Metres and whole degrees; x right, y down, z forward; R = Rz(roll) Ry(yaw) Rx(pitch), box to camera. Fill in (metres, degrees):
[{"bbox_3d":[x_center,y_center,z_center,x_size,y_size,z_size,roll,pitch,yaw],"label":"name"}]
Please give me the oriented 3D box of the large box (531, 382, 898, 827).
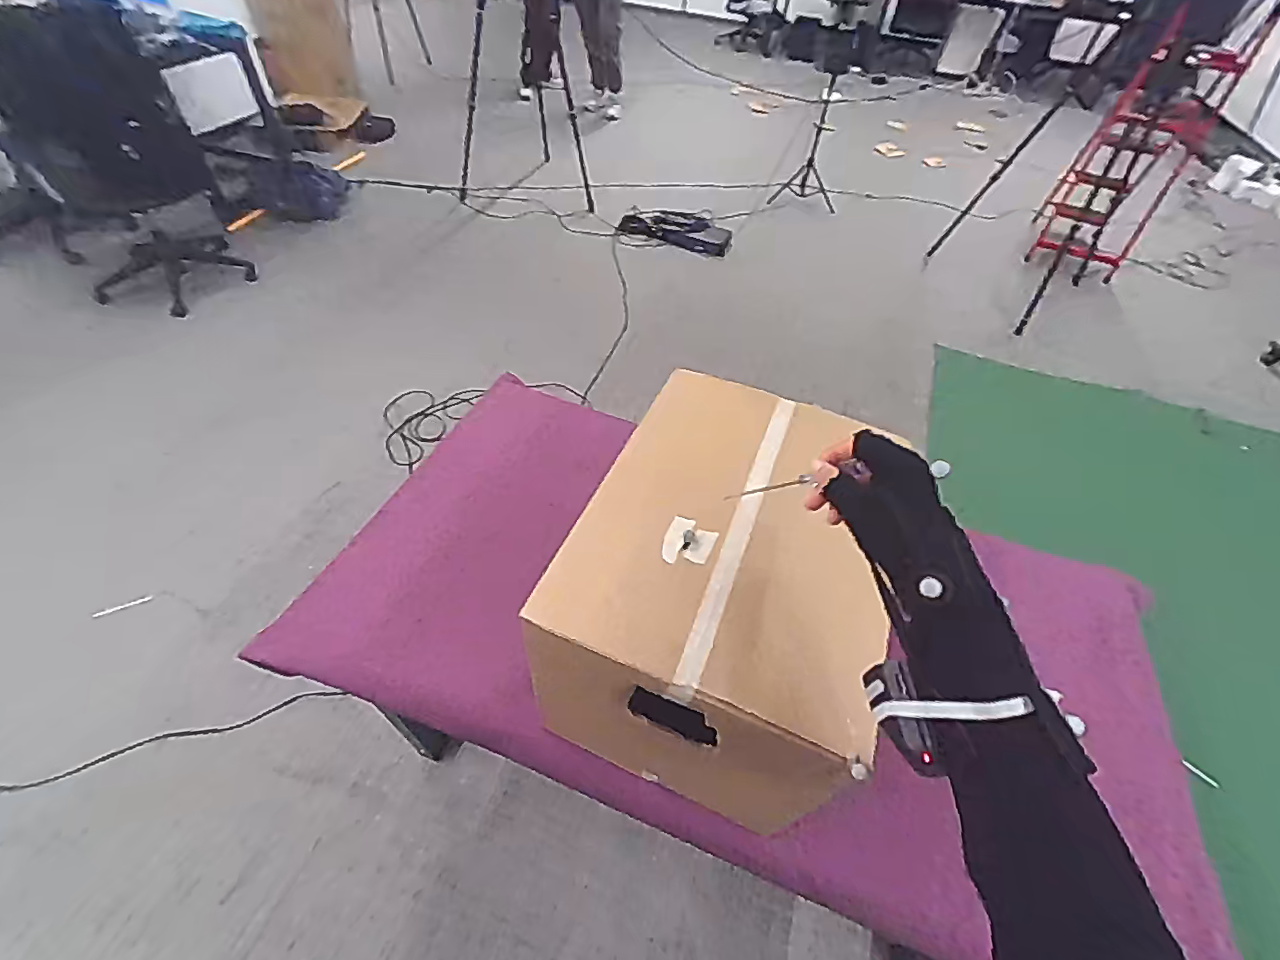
[{"bbox_3d":[0.099,0.147,0.701,0.320,0.320,0.408,20,50,12],"label":"large box"}]
